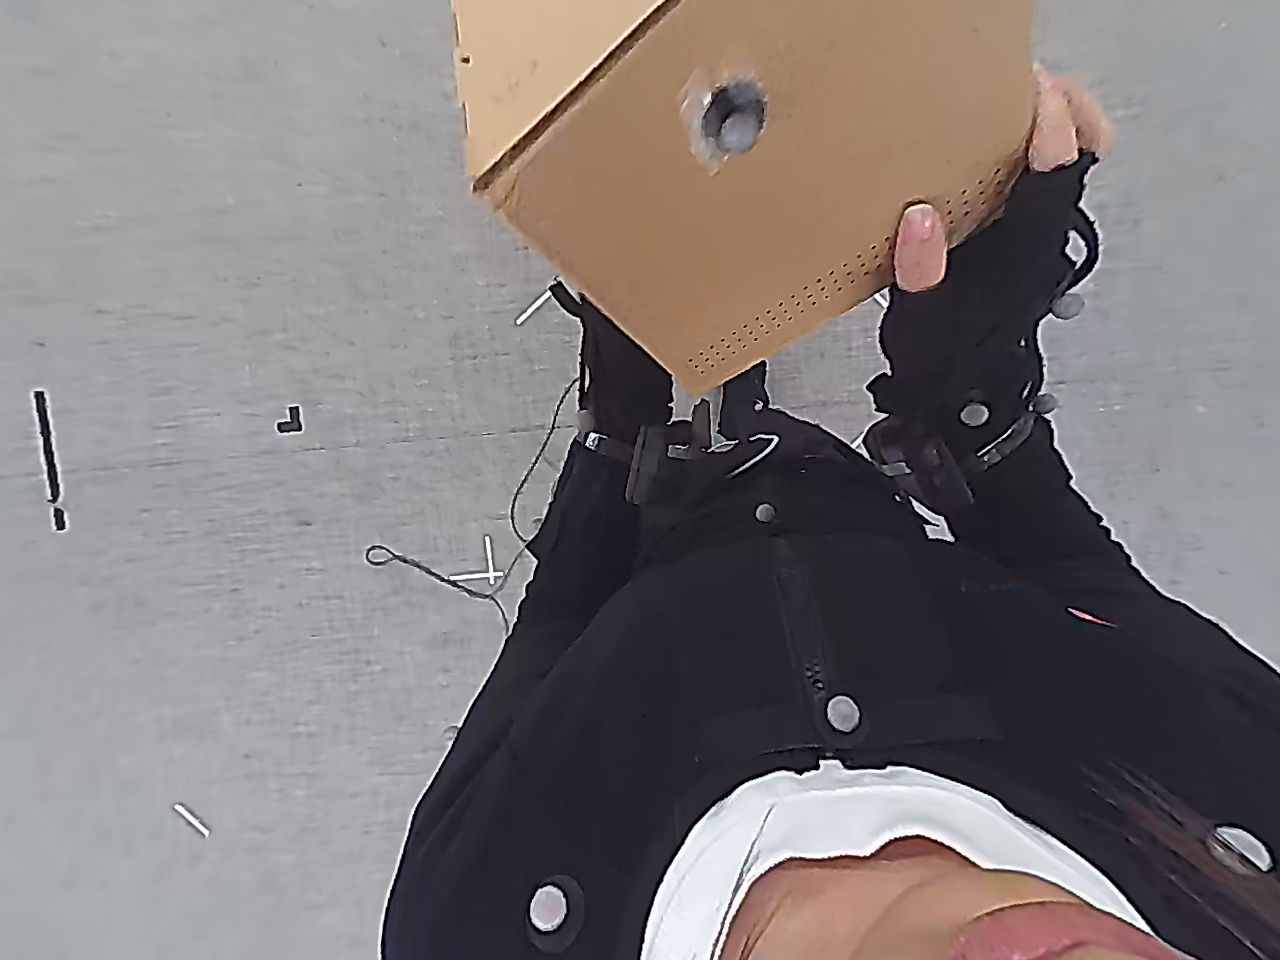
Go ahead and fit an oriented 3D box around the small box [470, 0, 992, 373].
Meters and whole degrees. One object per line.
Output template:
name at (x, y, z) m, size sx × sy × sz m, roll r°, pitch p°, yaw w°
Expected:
small box at (0.041, -0.183, 0.267) m, size 0.179 × 0.176 × 0.168 m, roll -28°, pitch 59°, yaw 25°
